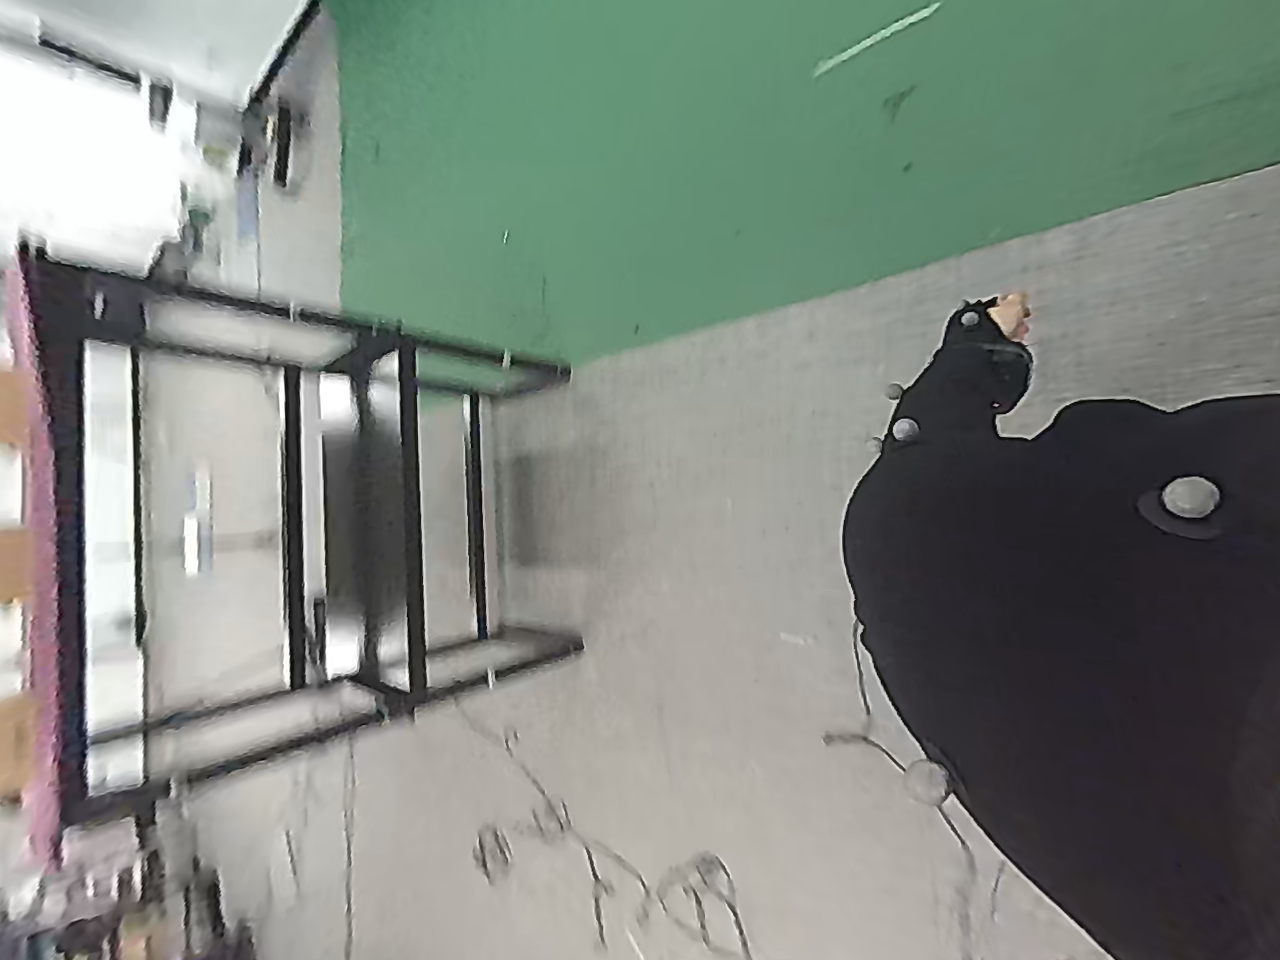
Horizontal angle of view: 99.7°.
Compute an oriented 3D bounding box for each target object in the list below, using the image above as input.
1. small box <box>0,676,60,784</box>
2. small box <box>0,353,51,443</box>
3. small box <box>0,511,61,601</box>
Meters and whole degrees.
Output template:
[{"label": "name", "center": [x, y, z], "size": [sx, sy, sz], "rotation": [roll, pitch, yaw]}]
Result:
[{"label": "small box", "center": [-1.256, 0.492, 1.051], "size": [0.179, 0.176, 0.168], "rotation": [-8, 85, 39]}, {"label": "small box", "center": [-1.341, -0.166, 1.111], "size": [0.168, 0.176, 0.179], "rotation": [-3, 89, 42]}, {"label": "small box", "center": [-1.299, 0.153, 1.086], "size": [0.168, 0.176, 0.179], "rotation": [-7, 87, 40]}]
